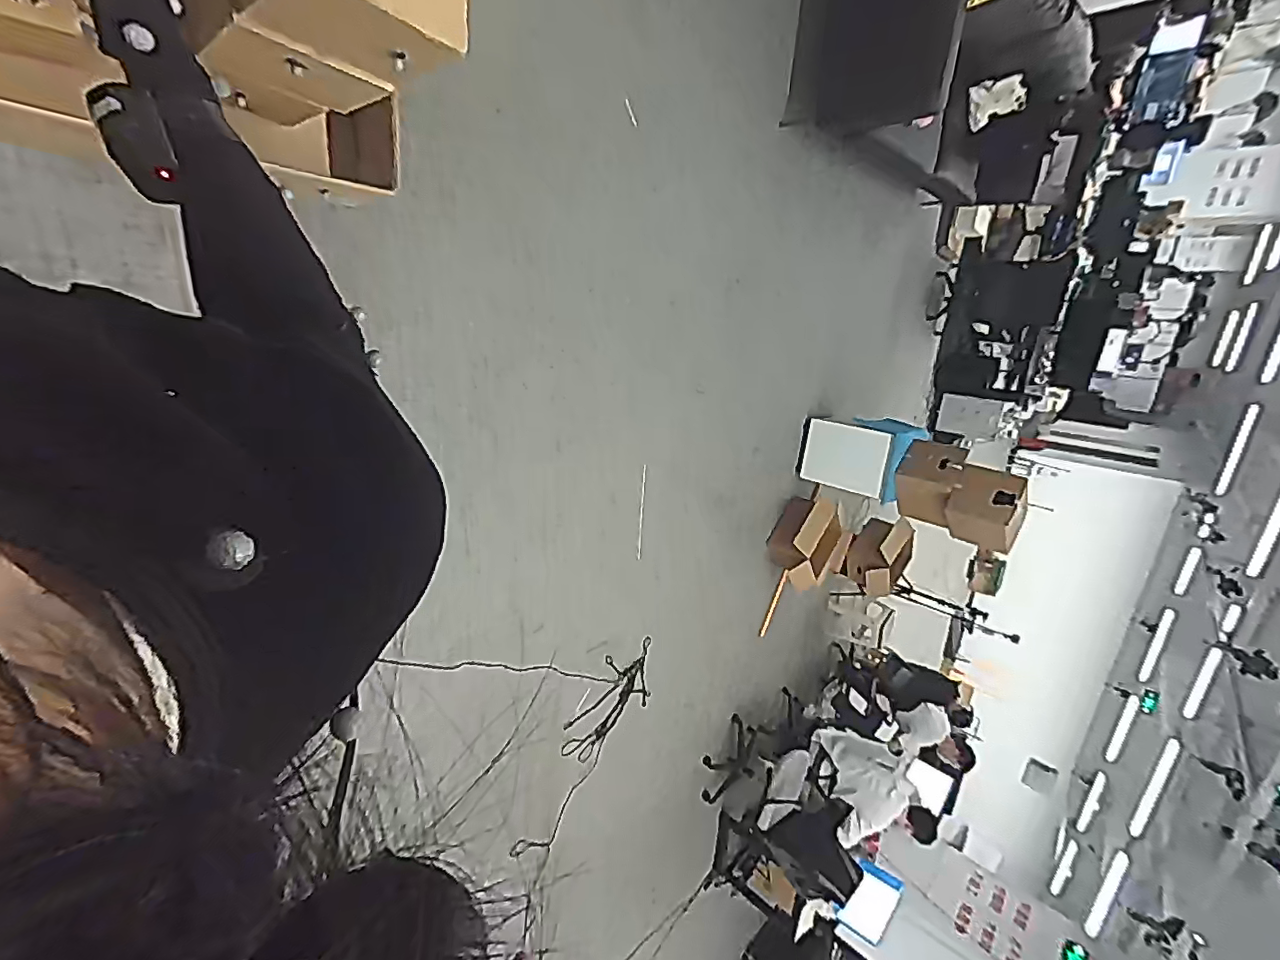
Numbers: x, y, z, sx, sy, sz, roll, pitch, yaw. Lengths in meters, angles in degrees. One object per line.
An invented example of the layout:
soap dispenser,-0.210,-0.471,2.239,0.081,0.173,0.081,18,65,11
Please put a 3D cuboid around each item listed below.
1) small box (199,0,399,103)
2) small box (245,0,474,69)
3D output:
small box,-0.411,-0.589,0.652,0.179,0.176,0.168,-7,111,-48
small box,-0.288,-0.556,0.550,0.179,0.176,0.168,-7,110,-47
